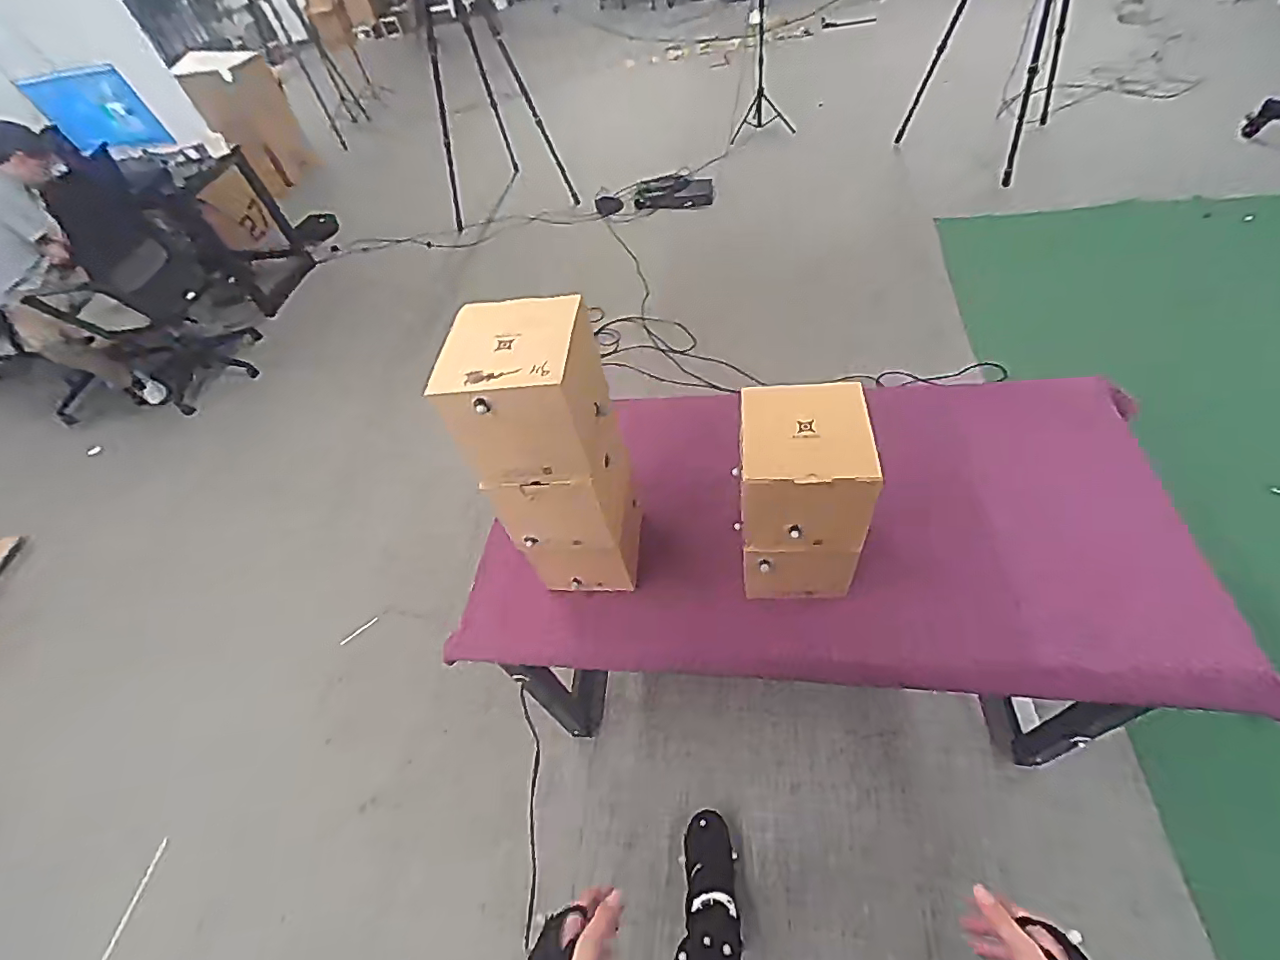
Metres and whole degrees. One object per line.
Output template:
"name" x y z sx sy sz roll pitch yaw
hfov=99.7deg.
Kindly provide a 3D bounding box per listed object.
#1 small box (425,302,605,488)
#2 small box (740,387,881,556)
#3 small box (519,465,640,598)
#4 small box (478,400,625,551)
"small box" -0.148 -0.109 0.715 0.168 0.176 0.179 -3 50 10
"small box" 0.228 -0.010 0.772 0.168 0.176 0.179 -2 52 10
"small box" -0.096 0.093 0.967 0.168 0.176 0.179 -2 52 10
"small box" -0.122 -0.002 0.836 0.168 0.176 0.179 -2 50 10
